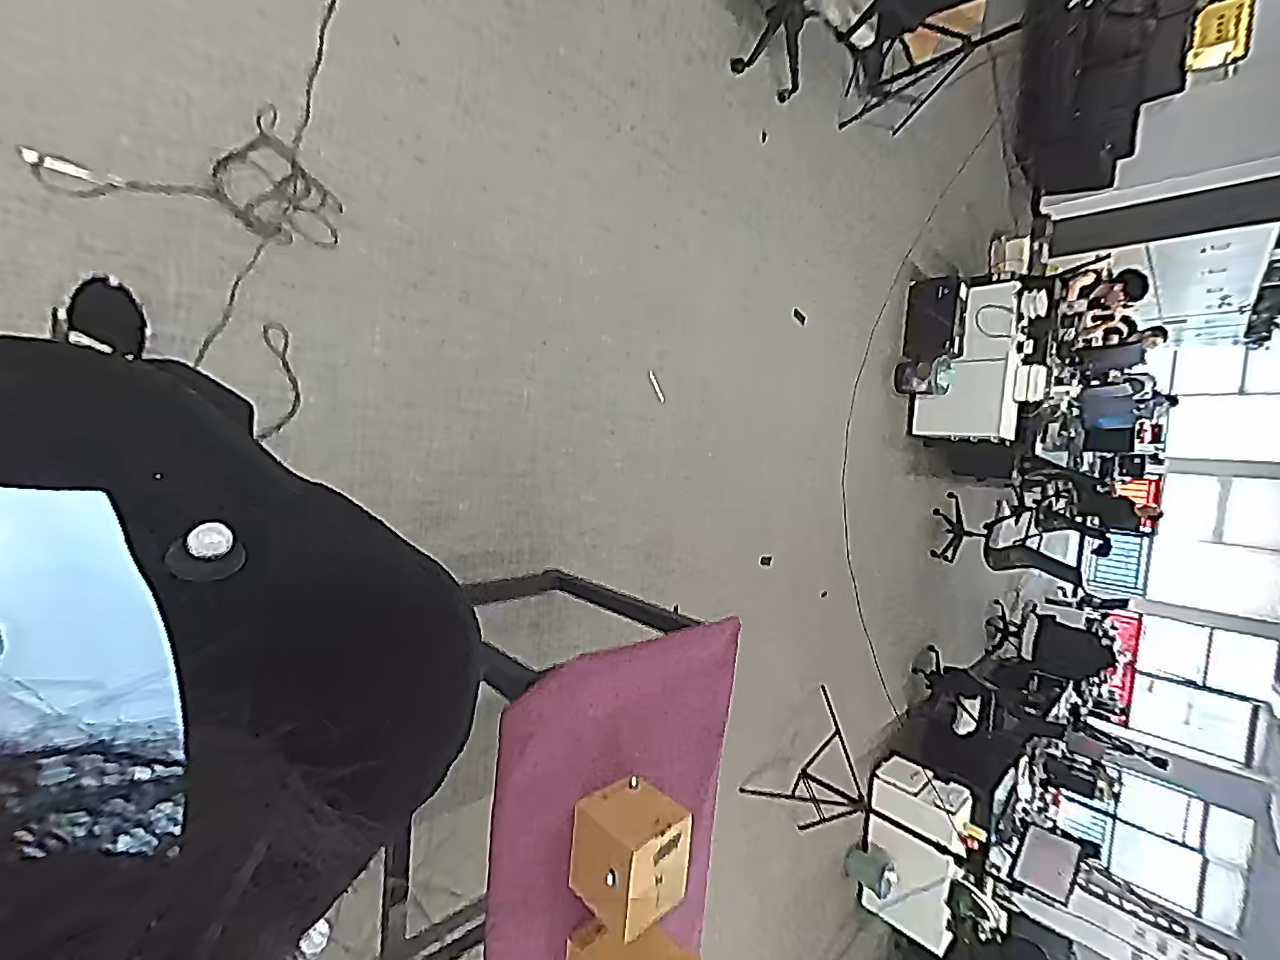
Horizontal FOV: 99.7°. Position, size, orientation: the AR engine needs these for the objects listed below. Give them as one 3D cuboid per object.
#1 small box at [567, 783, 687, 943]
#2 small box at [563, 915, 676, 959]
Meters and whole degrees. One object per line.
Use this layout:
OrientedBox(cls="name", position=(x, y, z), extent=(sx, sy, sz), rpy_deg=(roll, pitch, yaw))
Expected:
OrientedBox(cls="small box", position=(-0.028, 0.735, 1.070), extent=(0.168, 0.176, 0.179), rpy_deg=(3, 94, -44))
OrientedBox(cls="small box", position=(-0.048, 1.019, 1.090), extent=(0.168, 0.176, 0.179), rpy_deg=(3, 93, -45))
